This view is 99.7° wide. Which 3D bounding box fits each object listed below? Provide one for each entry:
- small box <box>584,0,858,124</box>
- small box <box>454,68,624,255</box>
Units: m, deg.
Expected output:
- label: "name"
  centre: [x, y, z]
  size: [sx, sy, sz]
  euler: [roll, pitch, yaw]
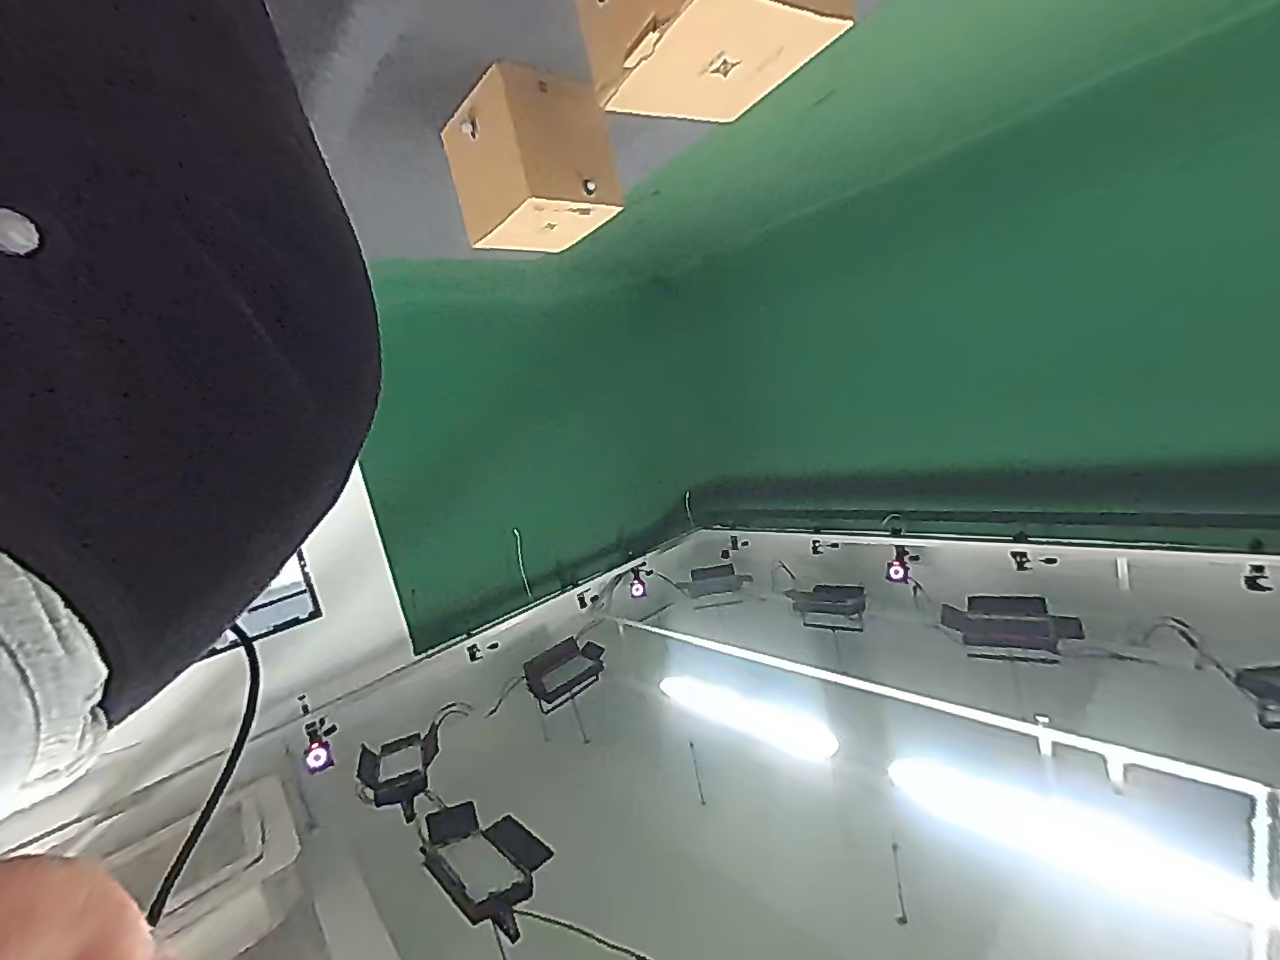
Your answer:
- label: "small box"
  centre: [0.057, -0.450, 0.476]
  size: [0.179, 0.176, 0.168]
  euler: [-20, -168, -30]
- label: "small box"
  centre: [-0.150, -0.442, 0.781]
  size: [0.168, 0.176, 0.179]
  euler: [-20, -169, -41]
